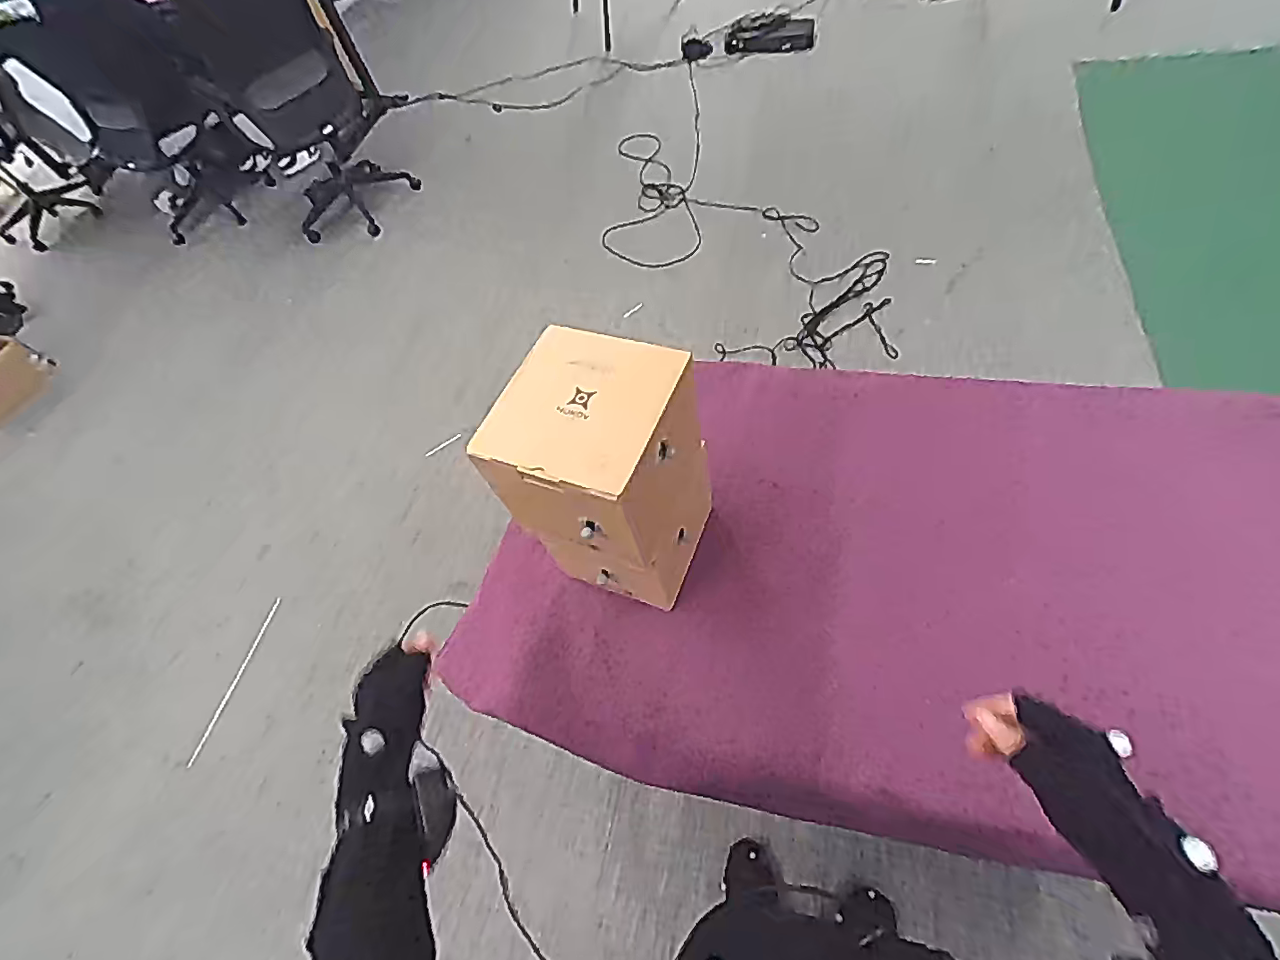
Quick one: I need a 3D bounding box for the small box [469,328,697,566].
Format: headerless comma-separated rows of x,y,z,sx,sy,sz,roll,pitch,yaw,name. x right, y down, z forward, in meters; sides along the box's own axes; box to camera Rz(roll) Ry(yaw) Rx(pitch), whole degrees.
-0.043,-0.030,0.583,0.168,0.176,0.179,17,63,20,small box

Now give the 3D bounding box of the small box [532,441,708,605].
-0.012,0.046,0.724,0.168,0.176,0.179,15,64,19,small box
